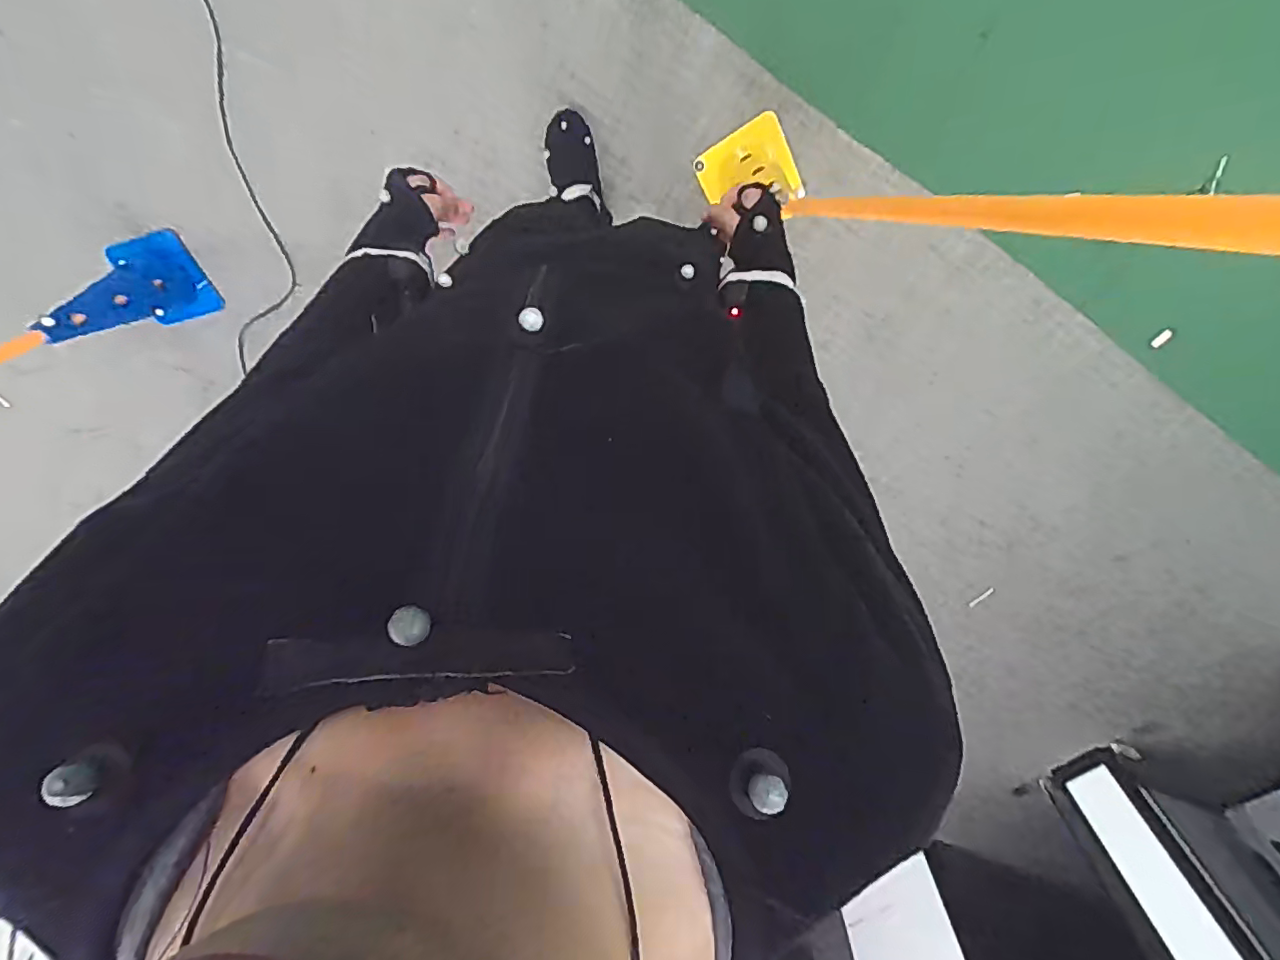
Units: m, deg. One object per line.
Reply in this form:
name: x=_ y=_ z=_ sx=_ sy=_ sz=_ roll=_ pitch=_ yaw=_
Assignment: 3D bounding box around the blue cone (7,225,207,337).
blue cone: x=-1.176 y=-0.395 z=1.178 sx=0.193 sy=0.380 sz=0.192 roll=-12 pitch=127 yaw=10
